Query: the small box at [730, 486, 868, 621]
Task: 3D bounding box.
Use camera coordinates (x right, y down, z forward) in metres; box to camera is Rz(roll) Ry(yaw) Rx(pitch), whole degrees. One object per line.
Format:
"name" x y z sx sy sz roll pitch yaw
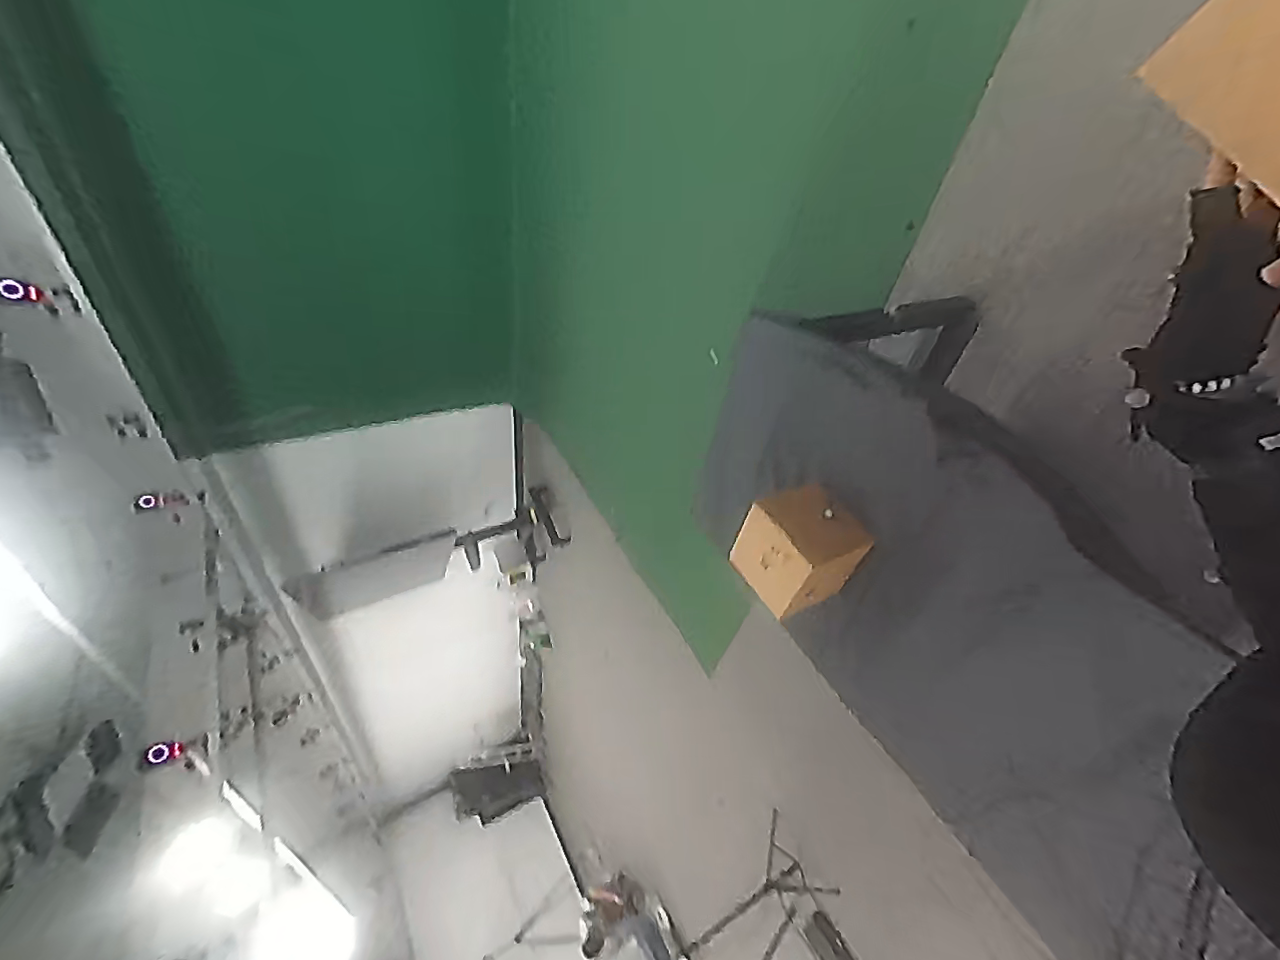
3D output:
"small box" 0.308 0.139 1.058 0.168 0.176 0.179 53 146 34
